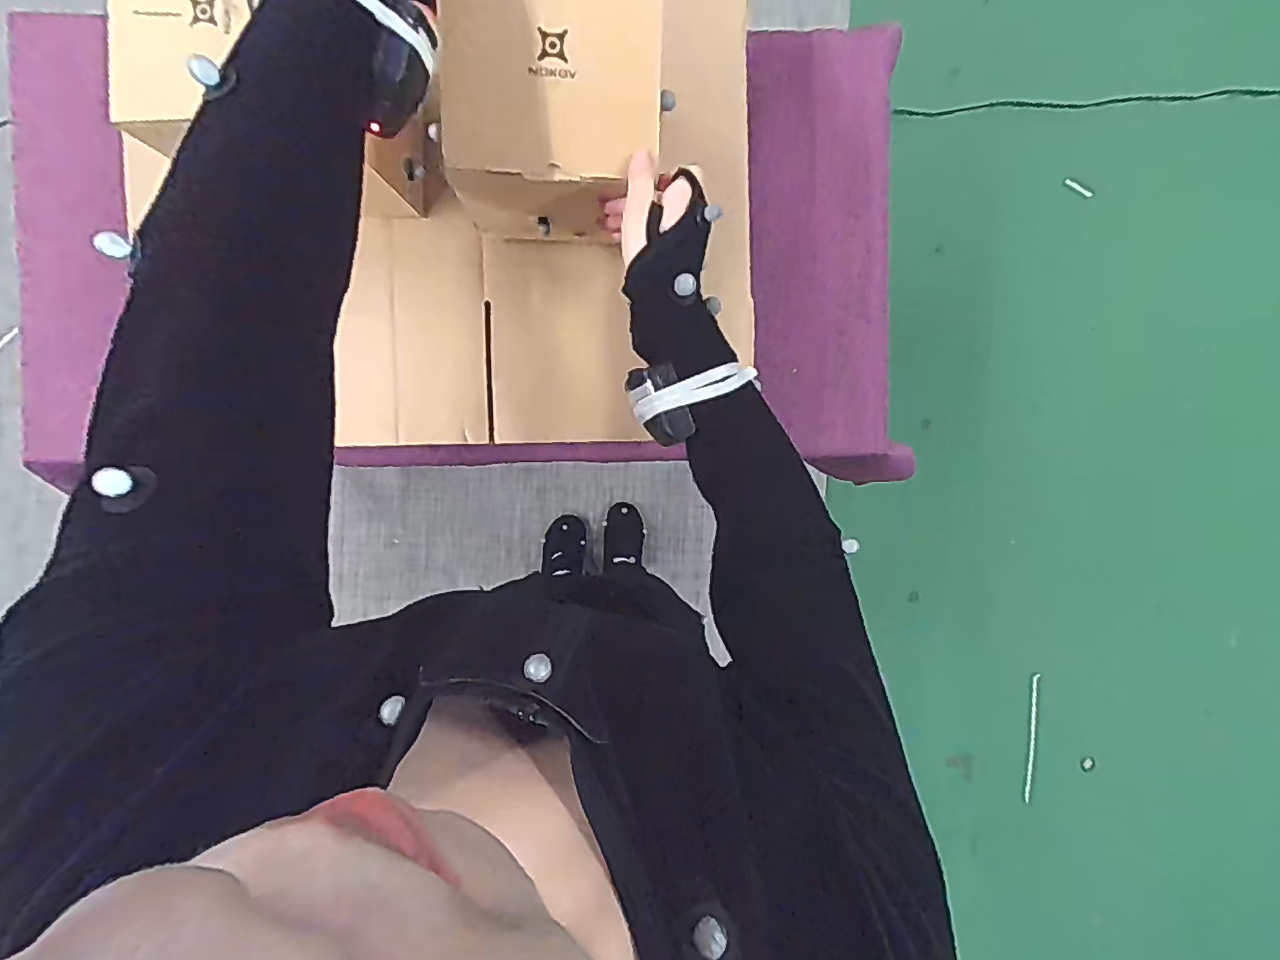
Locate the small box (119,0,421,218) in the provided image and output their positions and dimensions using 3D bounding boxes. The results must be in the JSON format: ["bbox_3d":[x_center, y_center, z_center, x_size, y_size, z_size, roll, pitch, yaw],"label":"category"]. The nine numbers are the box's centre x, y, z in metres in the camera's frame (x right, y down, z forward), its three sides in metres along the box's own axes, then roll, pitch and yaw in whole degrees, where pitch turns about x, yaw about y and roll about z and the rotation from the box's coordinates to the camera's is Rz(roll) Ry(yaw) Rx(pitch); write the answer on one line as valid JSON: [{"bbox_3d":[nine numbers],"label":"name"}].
[{"bbox_3d":[-0.322,-0.363,0.504,0.179,0.176,0.168,1,92,4],"label":"small box"}]

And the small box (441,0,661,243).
[{"bbox_3d":[-0.076,-0.332,0.488,0.168,0.176,0.179,0,100,-6],"label":"small box"}]
